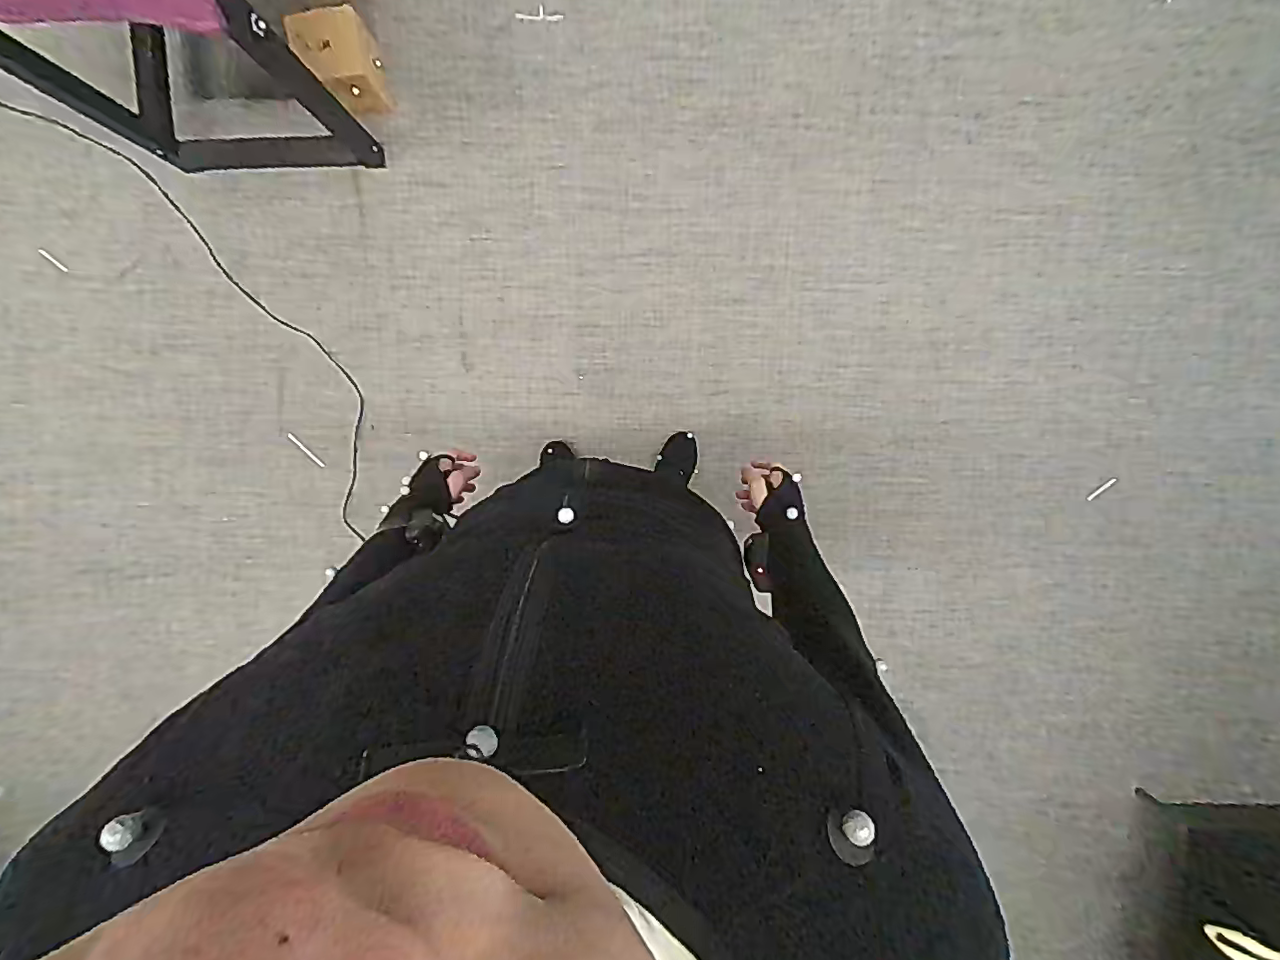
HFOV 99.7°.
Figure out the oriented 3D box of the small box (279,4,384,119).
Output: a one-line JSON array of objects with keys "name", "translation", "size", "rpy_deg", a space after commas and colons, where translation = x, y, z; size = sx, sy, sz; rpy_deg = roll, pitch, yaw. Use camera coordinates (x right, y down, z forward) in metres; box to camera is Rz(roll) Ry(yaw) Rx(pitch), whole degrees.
[{"name": "small box", "translation": [-0.795, -1.088, 1.418], "size": [0.179, 0.176, 0.168], "rpy_deg": [-9, 96, 1]}]
